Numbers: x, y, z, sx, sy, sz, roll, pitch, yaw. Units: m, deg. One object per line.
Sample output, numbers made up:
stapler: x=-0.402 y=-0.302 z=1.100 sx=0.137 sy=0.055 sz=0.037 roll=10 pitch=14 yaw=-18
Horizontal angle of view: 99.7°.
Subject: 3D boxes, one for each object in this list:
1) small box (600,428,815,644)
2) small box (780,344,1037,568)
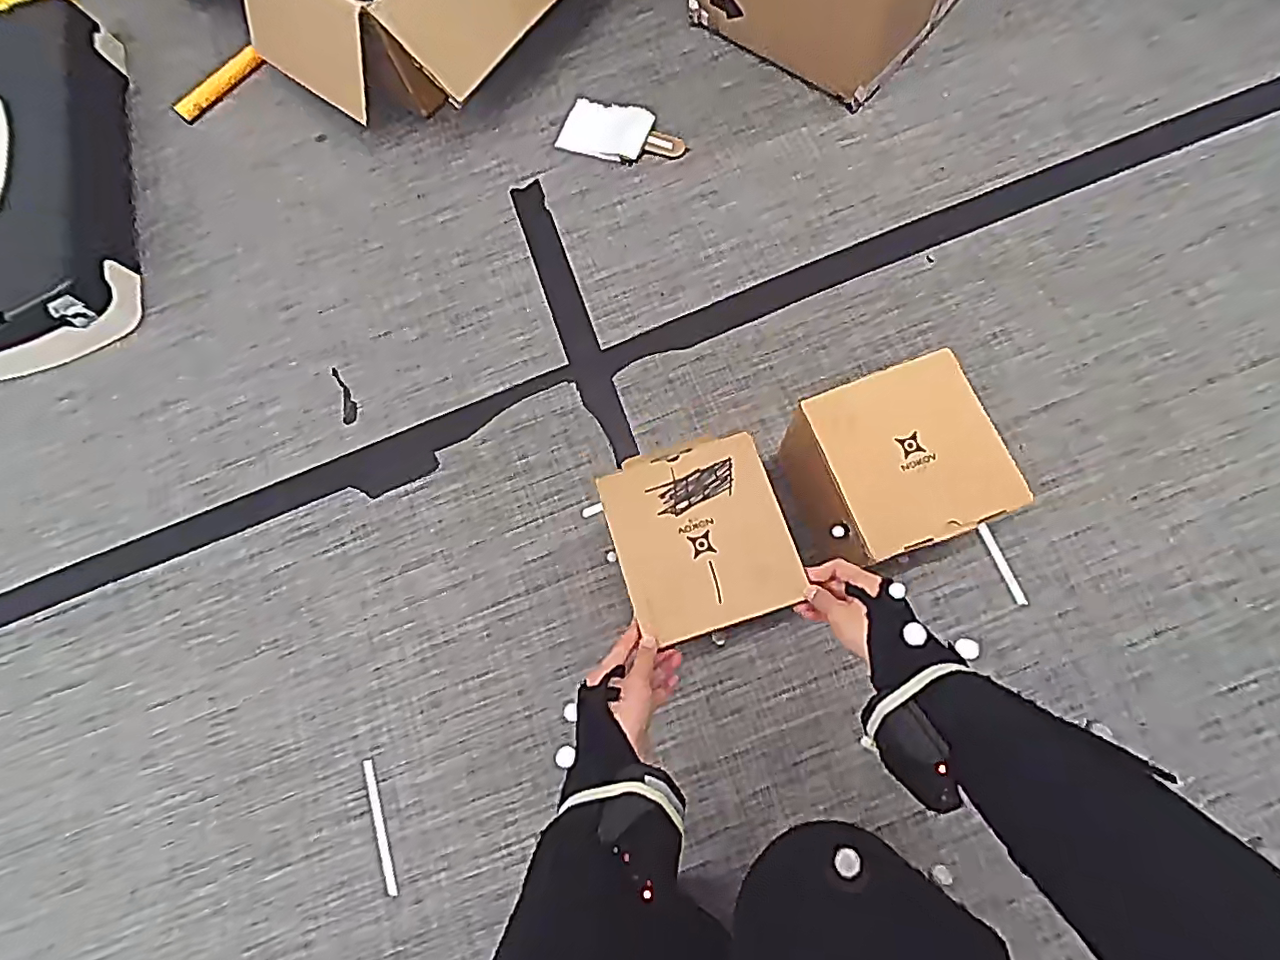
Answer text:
small box: x=0.063 y=0.070 z=0.591 sx=0.168 sy=0.176 sz=0.179 roll=-18 pitch=75 yaw=-1
small box: x=0.272 y=-0.015 z=0.600 sx=0.168 sy=0.176 sz=0.179 roll=-21 pitch=75 yaw=-1
